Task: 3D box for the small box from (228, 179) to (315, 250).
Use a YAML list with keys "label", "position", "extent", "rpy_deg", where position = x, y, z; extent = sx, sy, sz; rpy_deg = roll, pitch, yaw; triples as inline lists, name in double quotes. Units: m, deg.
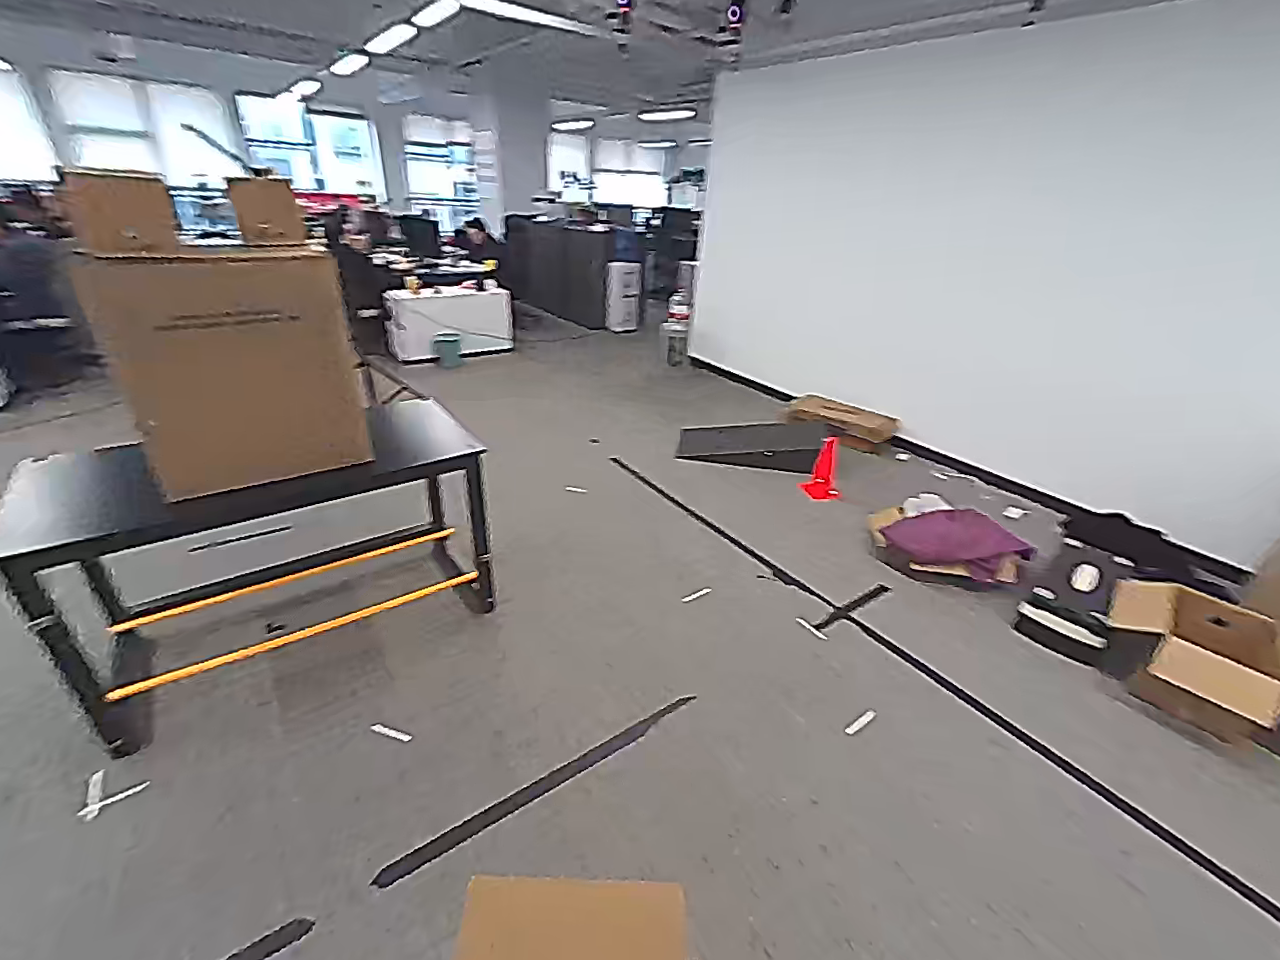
- label: "small box"
  position: [-1.043, -0.752, 1.533]
  extent: [0.168, 0.176, 0.179]
  rpy_deg: [-17, 33, -30]
